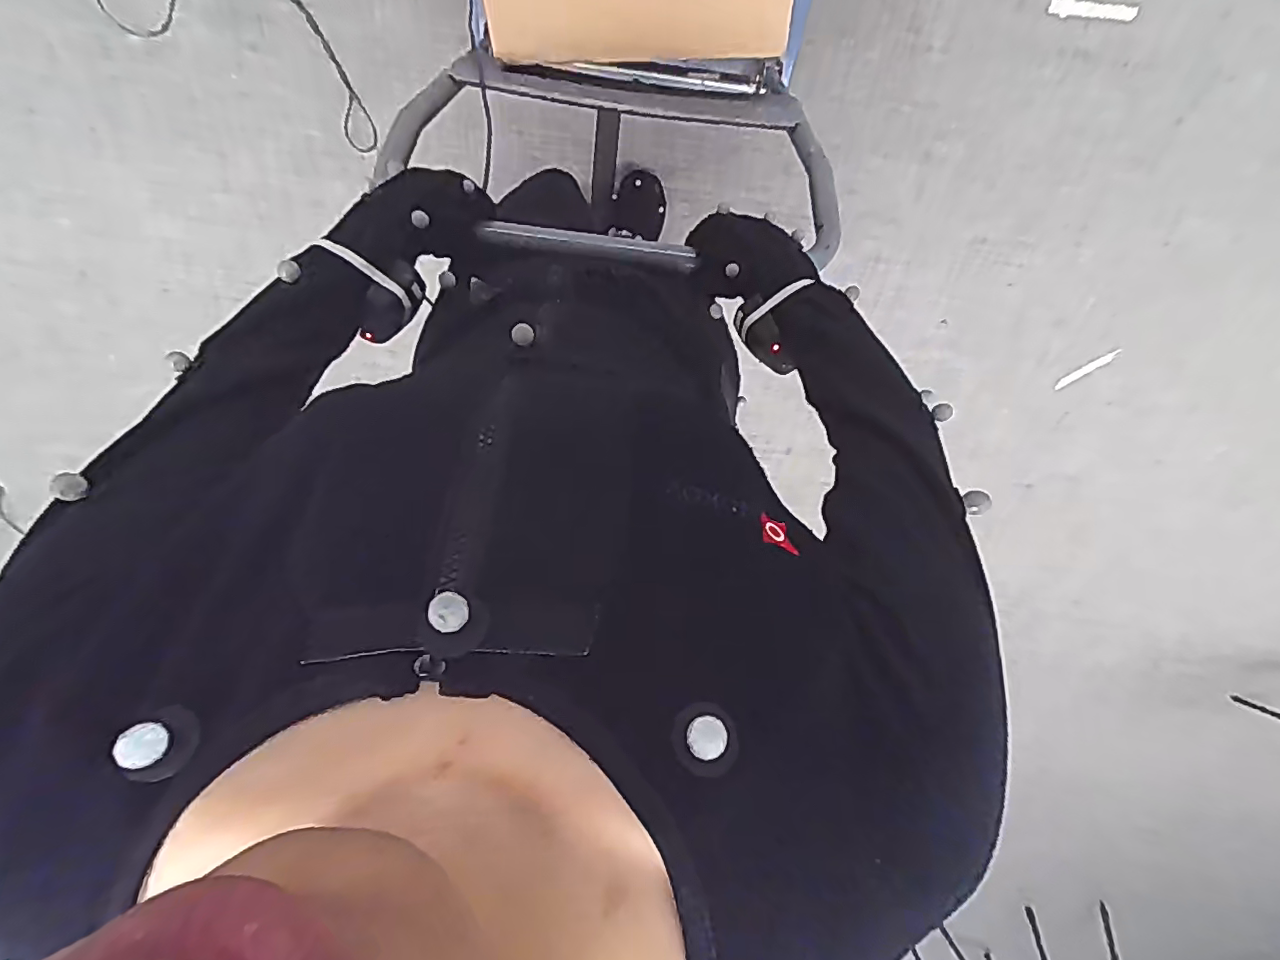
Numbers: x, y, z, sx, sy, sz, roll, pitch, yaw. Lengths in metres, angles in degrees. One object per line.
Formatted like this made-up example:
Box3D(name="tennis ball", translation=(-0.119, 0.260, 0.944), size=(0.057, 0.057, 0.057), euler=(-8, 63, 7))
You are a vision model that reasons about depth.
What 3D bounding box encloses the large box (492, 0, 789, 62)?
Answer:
Box3D(name="large box", translation=(-0.003, -0.810, 0.757), size=(0.408, 0.320, 0.320), euler=(-1, 136, 2))
